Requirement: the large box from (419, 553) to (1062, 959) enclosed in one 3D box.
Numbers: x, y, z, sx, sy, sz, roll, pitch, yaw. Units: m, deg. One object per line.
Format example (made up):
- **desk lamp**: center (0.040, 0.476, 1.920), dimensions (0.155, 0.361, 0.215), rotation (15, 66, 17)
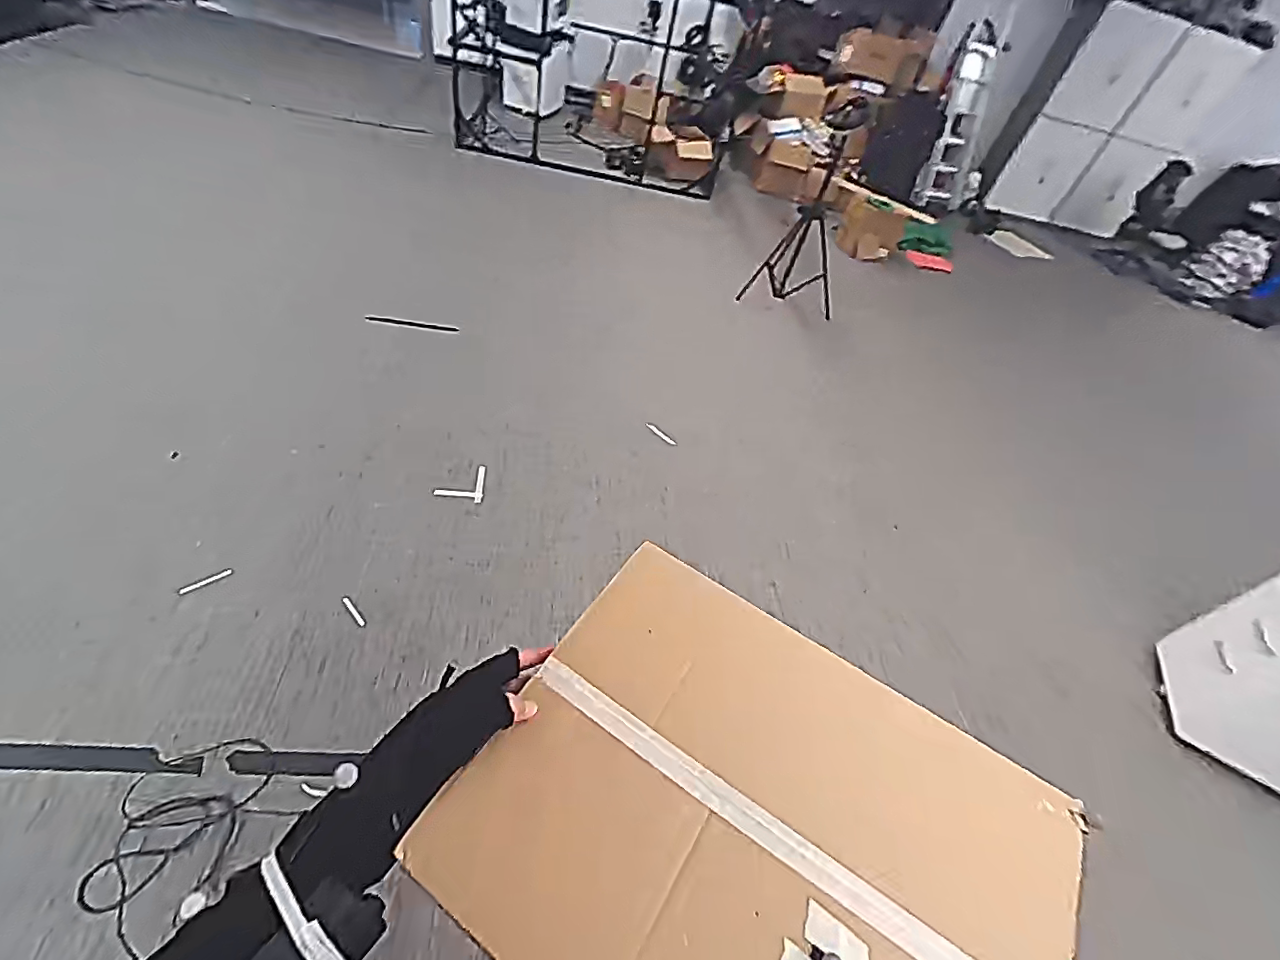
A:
- **large box**: center (0.075, 0.349, 0.514), dimensions (0.408, 0.320, 0.320), rotation (30, 53, 18)
